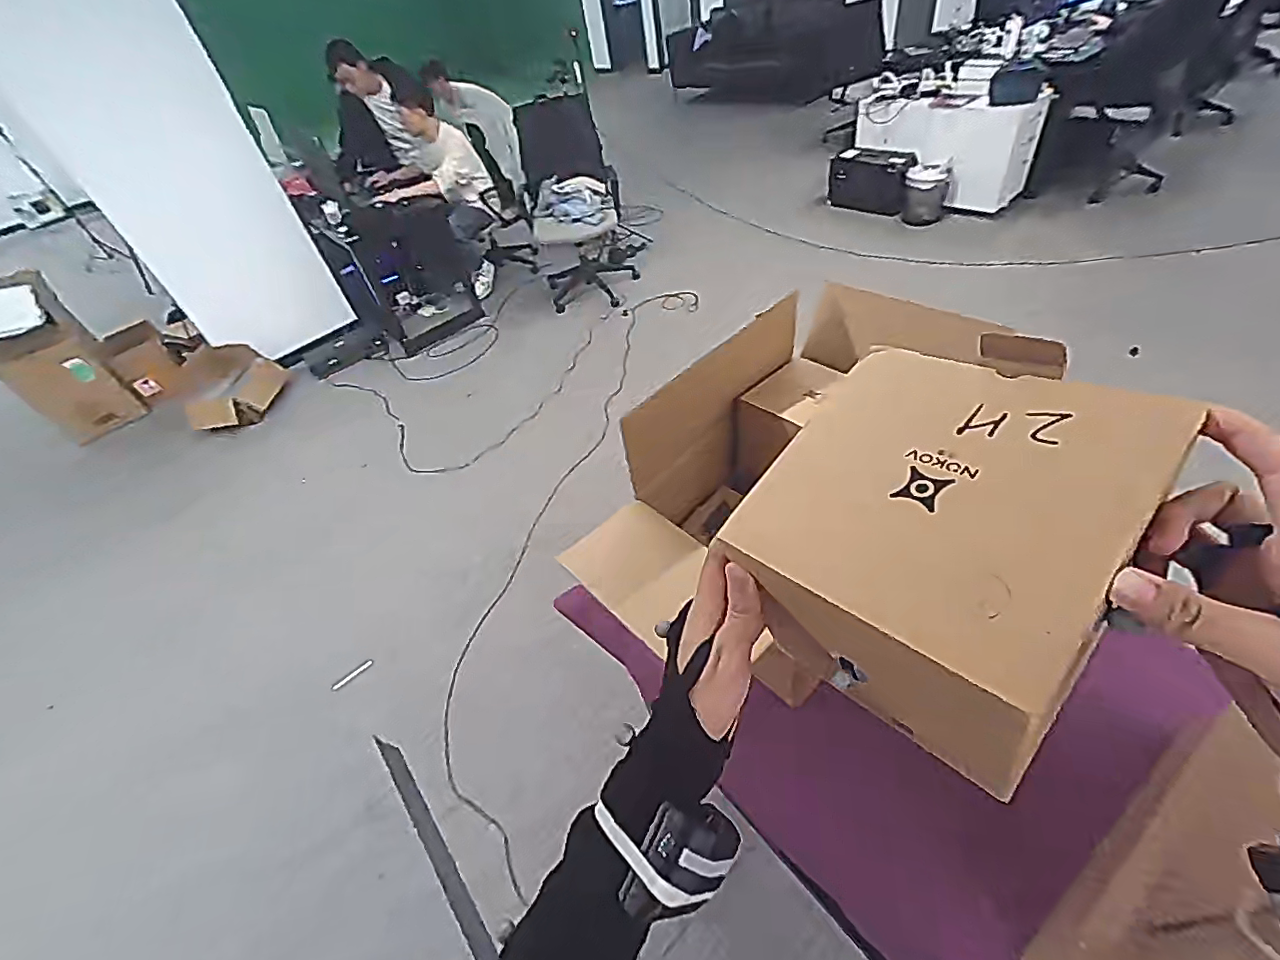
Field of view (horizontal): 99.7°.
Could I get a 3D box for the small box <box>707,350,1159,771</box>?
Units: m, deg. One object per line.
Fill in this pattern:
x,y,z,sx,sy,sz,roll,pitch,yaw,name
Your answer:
0.178,0.048,0.349,0.179,0.176,0.168,-47,45,-15,small box
